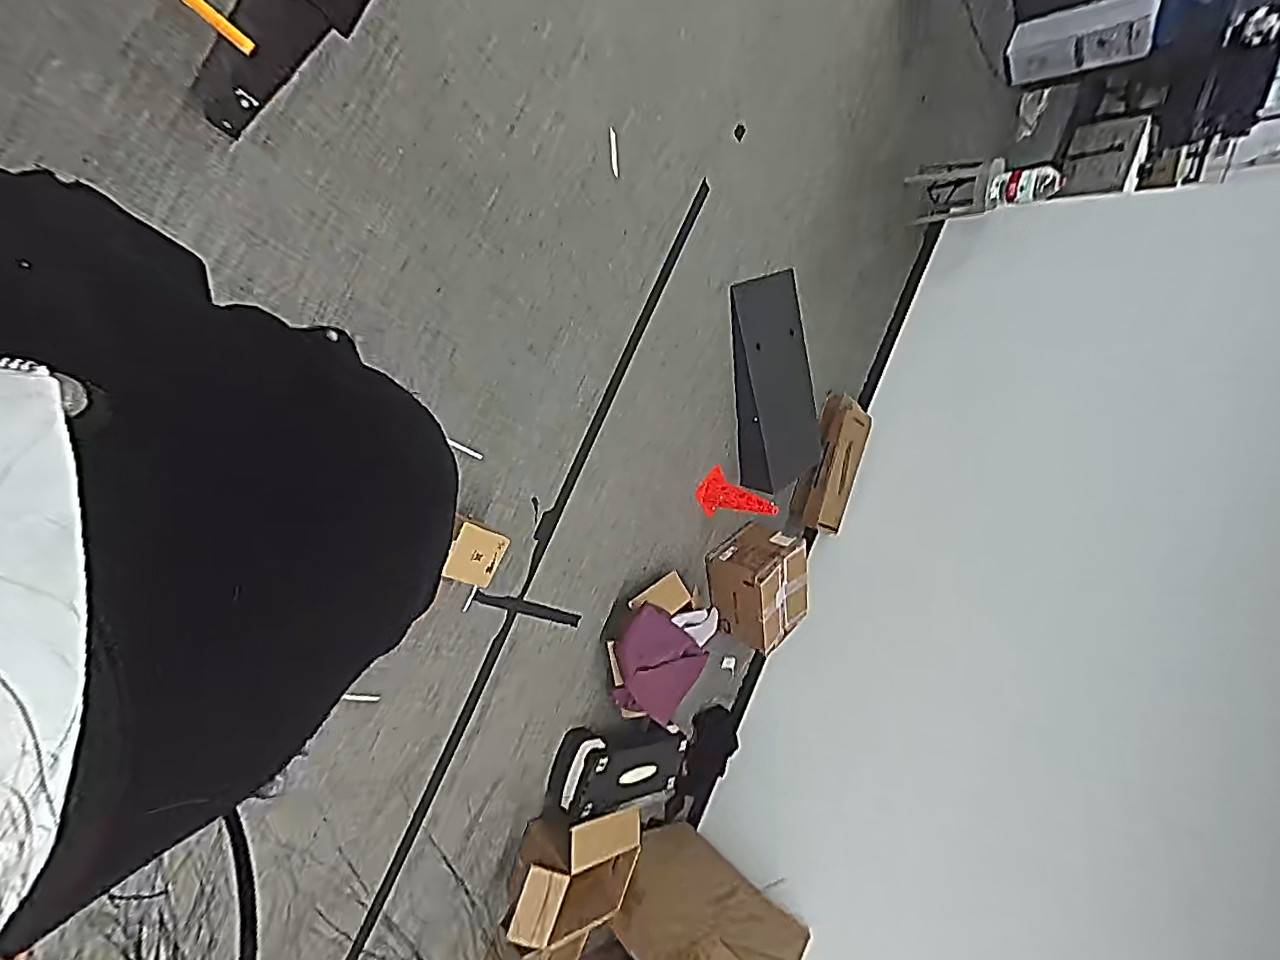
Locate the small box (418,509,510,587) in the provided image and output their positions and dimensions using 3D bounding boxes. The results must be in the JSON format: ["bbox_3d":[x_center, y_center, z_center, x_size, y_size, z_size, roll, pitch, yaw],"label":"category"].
[{"bbox_3d":[-0.533,0.201,1.628,0.179,0.176,0.168,33,79,-46],"label":"small box"}]
